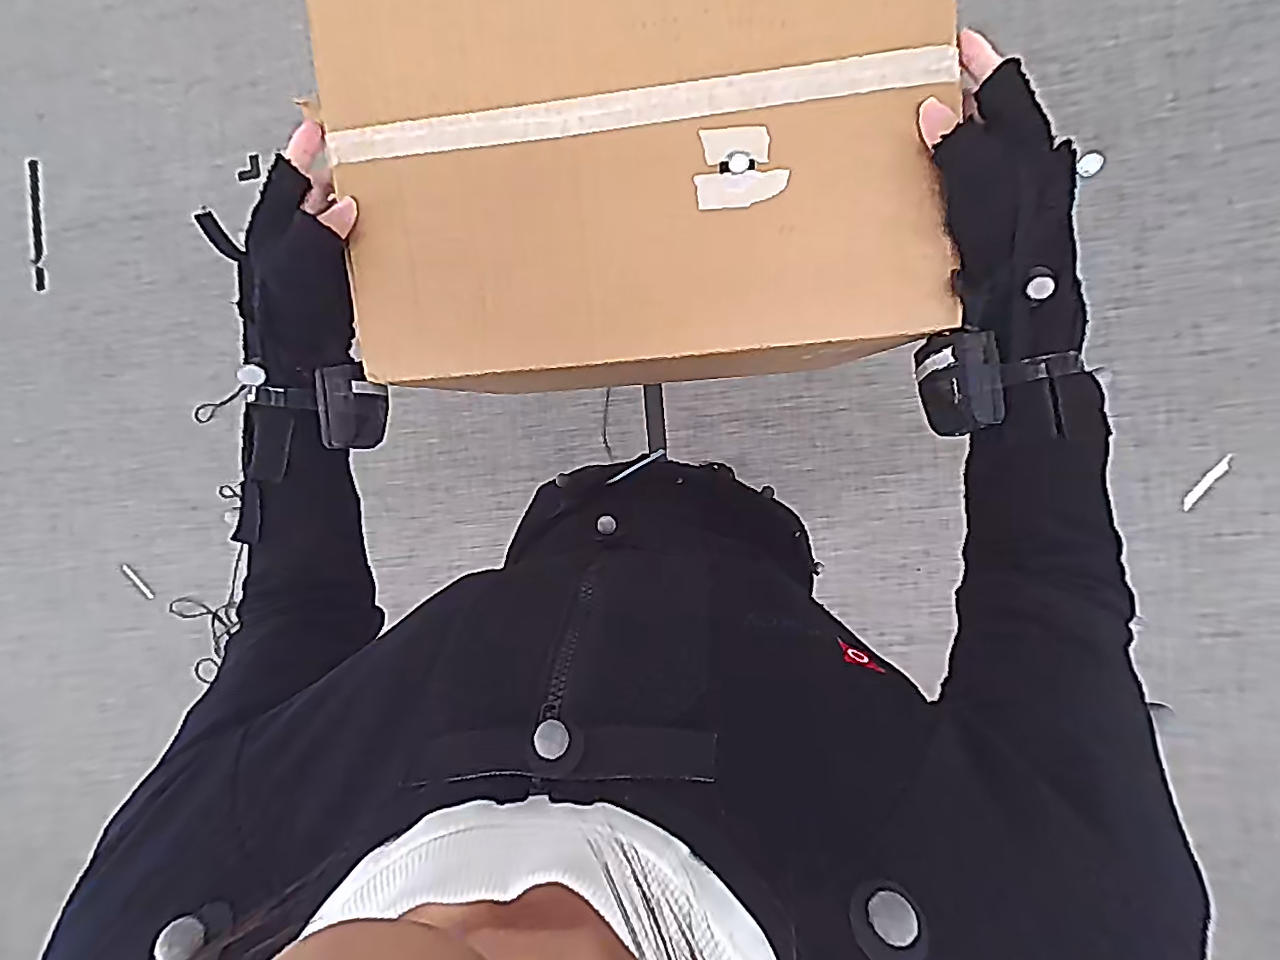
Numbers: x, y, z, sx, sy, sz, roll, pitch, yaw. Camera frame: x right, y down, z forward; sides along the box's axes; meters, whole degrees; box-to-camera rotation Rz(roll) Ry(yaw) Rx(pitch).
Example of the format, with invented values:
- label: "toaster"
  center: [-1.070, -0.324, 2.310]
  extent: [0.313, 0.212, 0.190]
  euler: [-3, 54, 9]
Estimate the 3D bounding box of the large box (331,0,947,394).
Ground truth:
- label: "large box"
  center: [0.004, -0.261, 0.510]
  extent: [0.408, 0.320, 0.320]
  euler: [-5, 98, 4]
